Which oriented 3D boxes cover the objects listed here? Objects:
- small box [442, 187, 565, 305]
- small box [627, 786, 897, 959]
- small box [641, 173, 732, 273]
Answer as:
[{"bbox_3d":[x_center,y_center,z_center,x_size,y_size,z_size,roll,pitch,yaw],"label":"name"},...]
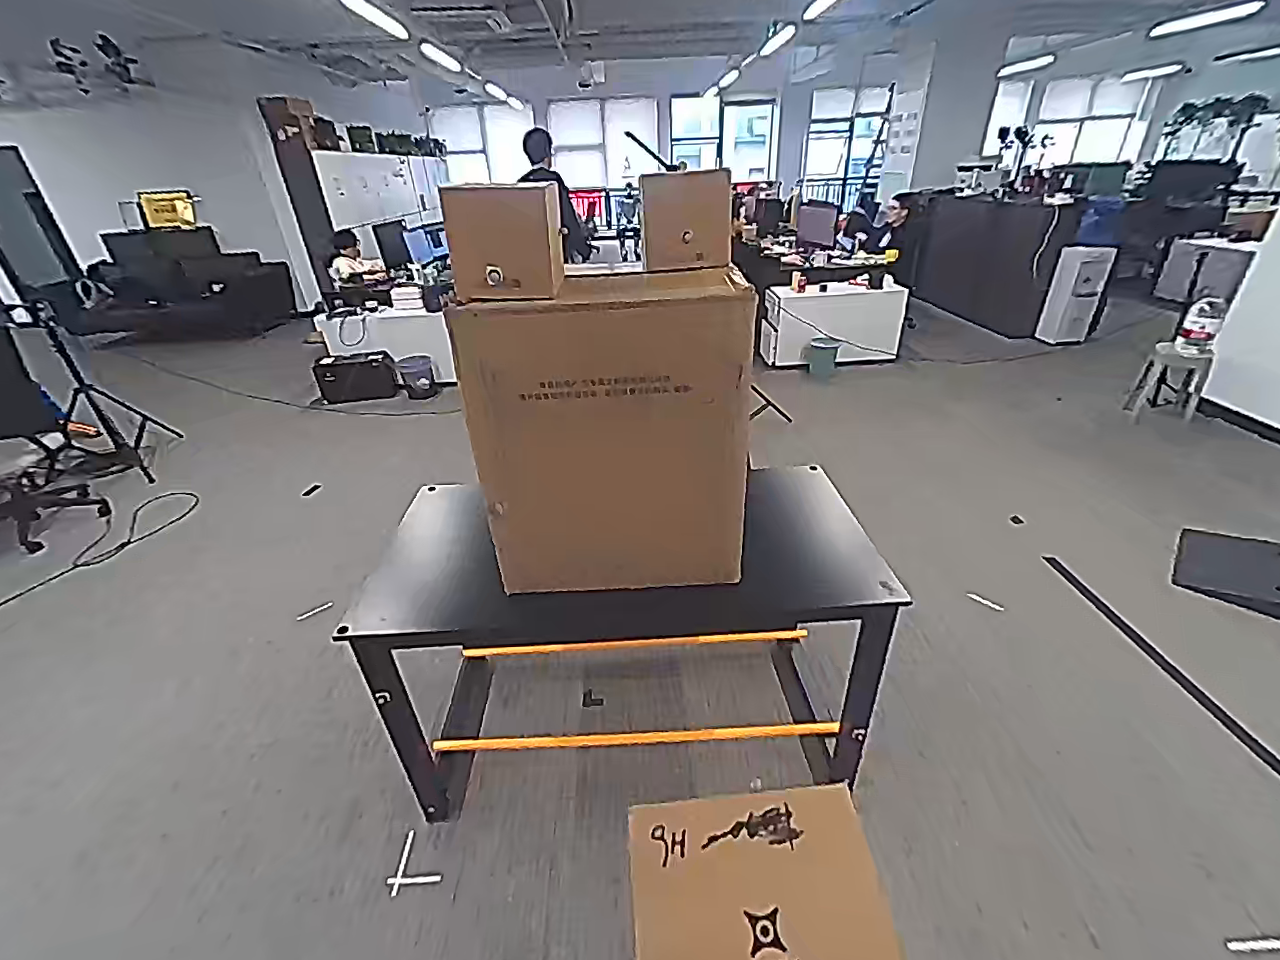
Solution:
[{"bbox_3d":[-0.222,-0.406,0.930,0.168,0.176,0.179,-2,31,-1],"label":"small box"},{"bbox_3d":[0.082,0.351,0.401,0.168,0.176,0.179,-5,47,-3],"label":"small box"},{"bbox_3d":[0.088,-0.517,1.093,0.168,0.176,0.179,-5,28,0],"label":"small box"}]
